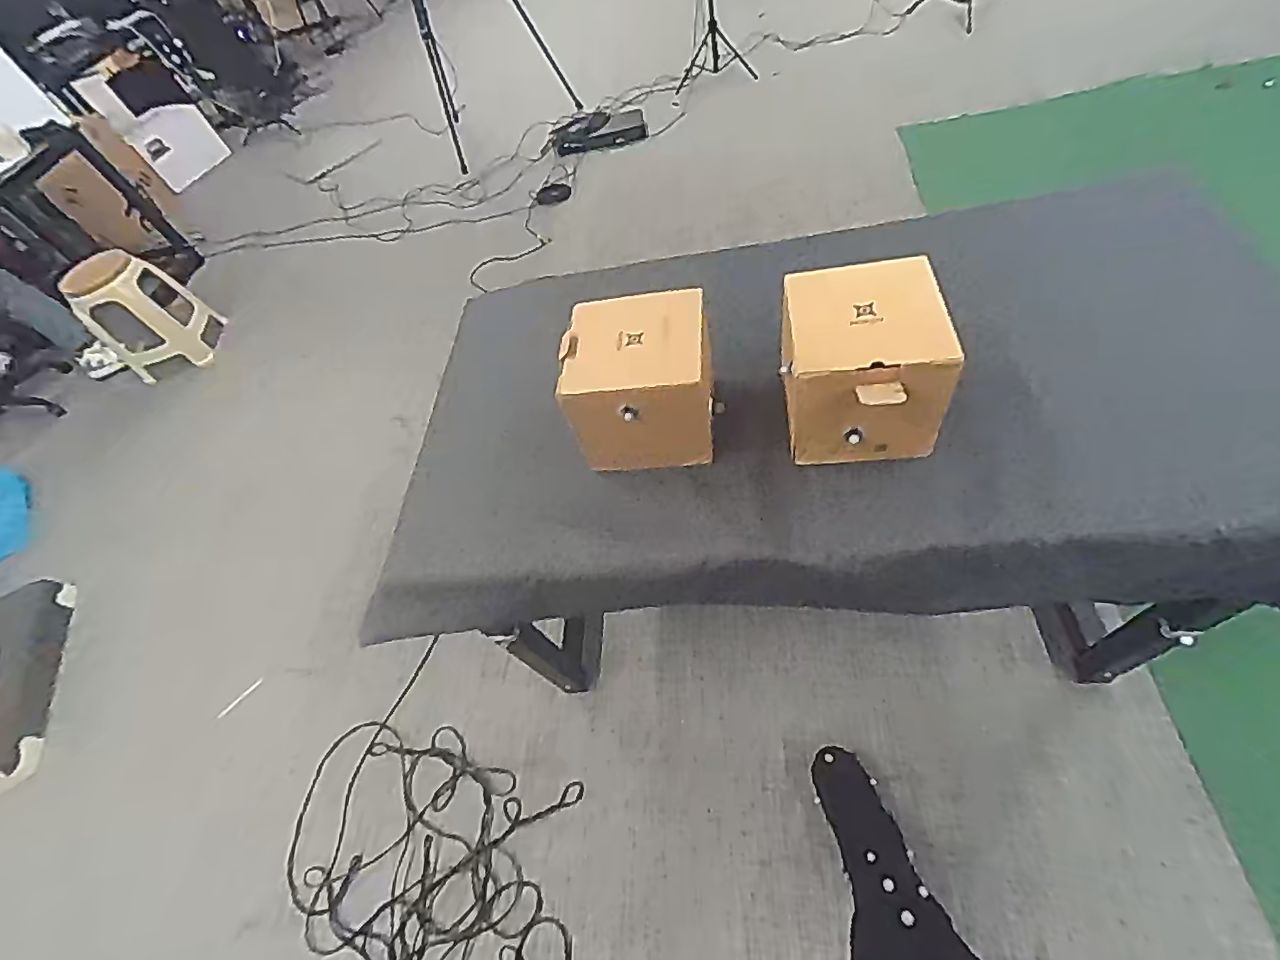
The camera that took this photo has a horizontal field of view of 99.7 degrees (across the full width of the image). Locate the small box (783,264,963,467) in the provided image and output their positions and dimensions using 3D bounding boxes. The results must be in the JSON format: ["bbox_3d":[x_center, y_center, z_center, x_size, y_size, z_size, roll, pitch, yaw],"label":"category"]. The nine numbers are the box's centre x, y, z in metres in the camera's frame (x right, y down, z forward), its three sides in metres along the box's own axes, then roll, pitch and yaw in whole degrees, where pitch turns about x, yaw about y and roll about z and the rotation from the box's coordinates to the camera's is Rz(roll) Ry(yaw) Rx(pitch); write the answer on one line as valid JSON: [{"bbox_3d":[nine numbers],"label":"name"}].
[{"bbox_3d":[0.270,-0.137,0.674,0.168,0.176,0.179,-4,56,12],"label":"small box"}]

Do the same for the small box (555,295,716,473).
[{"bbox_3d":[0.006,-0.121,0.731,0.179,0.176,0.168,-2,56,12],"label":"small box"}]
